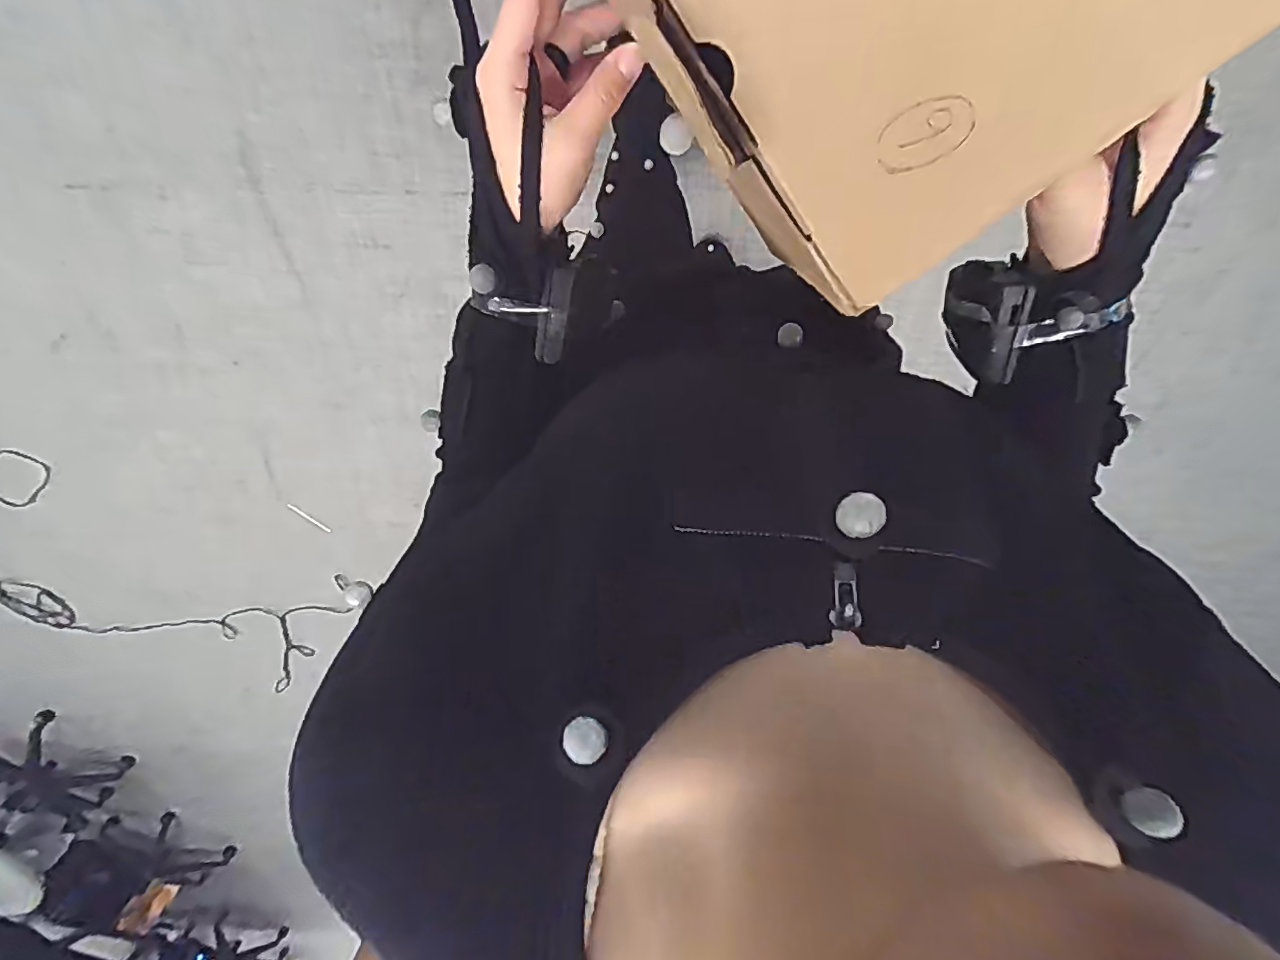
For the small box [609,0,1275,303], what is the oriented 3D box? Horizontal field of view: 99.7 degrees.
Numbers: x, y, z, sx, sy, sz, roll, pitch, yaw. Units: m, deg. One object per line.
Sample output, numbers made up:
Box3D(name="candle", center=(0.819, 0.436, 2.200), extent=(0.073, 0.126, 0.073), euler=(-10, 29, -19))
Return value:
Box3D(name="small box", center=(0.089, -0.199, 0.203), extent=(0.179, 0.176, 0.168), euler=(-35, 110, 21))
